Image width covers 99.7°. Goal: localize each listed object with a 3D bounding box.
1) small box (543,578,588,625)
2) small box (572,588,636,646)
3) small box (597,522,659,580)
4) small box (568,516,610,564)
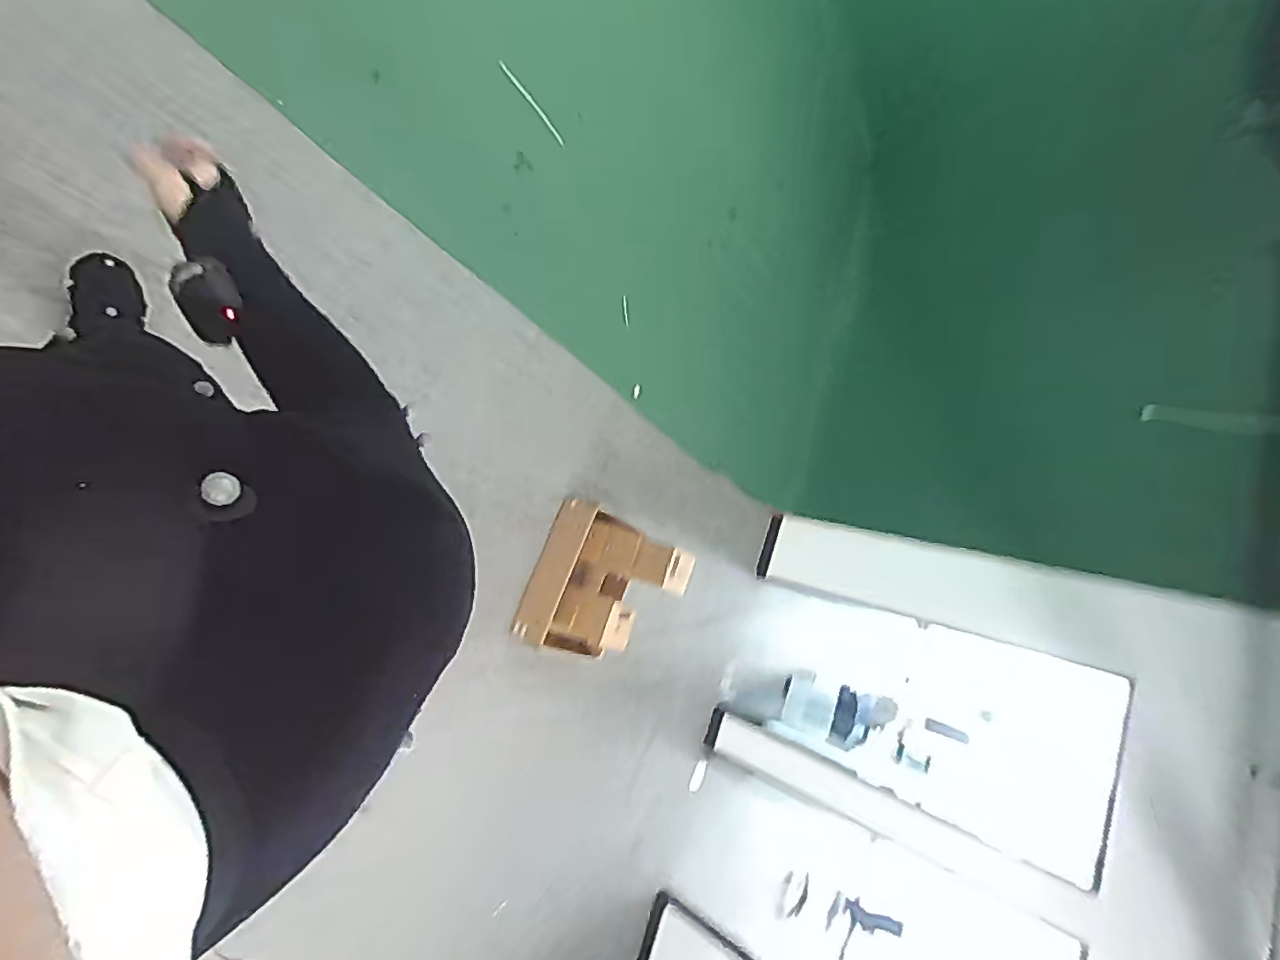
[{"bbox_3d":[-0.276,0.523,2.273,0.179,0.176,0.168,37,69,-49],"label":"small box"},{"bbox_3d":[-0.148,0.547,2.171,0.168,0.176,0.179,31,75,-49],"label":"small box"},{"bbox_3d":[-0.055,0.292,2.228,0.168,0.176,0.179,34,73,-51],"label":"small box"},{"bbox_3d":[-0.179,0.266,2.331,0.179,0.176,0.168,36,71,-51],"label":"small box"}]
